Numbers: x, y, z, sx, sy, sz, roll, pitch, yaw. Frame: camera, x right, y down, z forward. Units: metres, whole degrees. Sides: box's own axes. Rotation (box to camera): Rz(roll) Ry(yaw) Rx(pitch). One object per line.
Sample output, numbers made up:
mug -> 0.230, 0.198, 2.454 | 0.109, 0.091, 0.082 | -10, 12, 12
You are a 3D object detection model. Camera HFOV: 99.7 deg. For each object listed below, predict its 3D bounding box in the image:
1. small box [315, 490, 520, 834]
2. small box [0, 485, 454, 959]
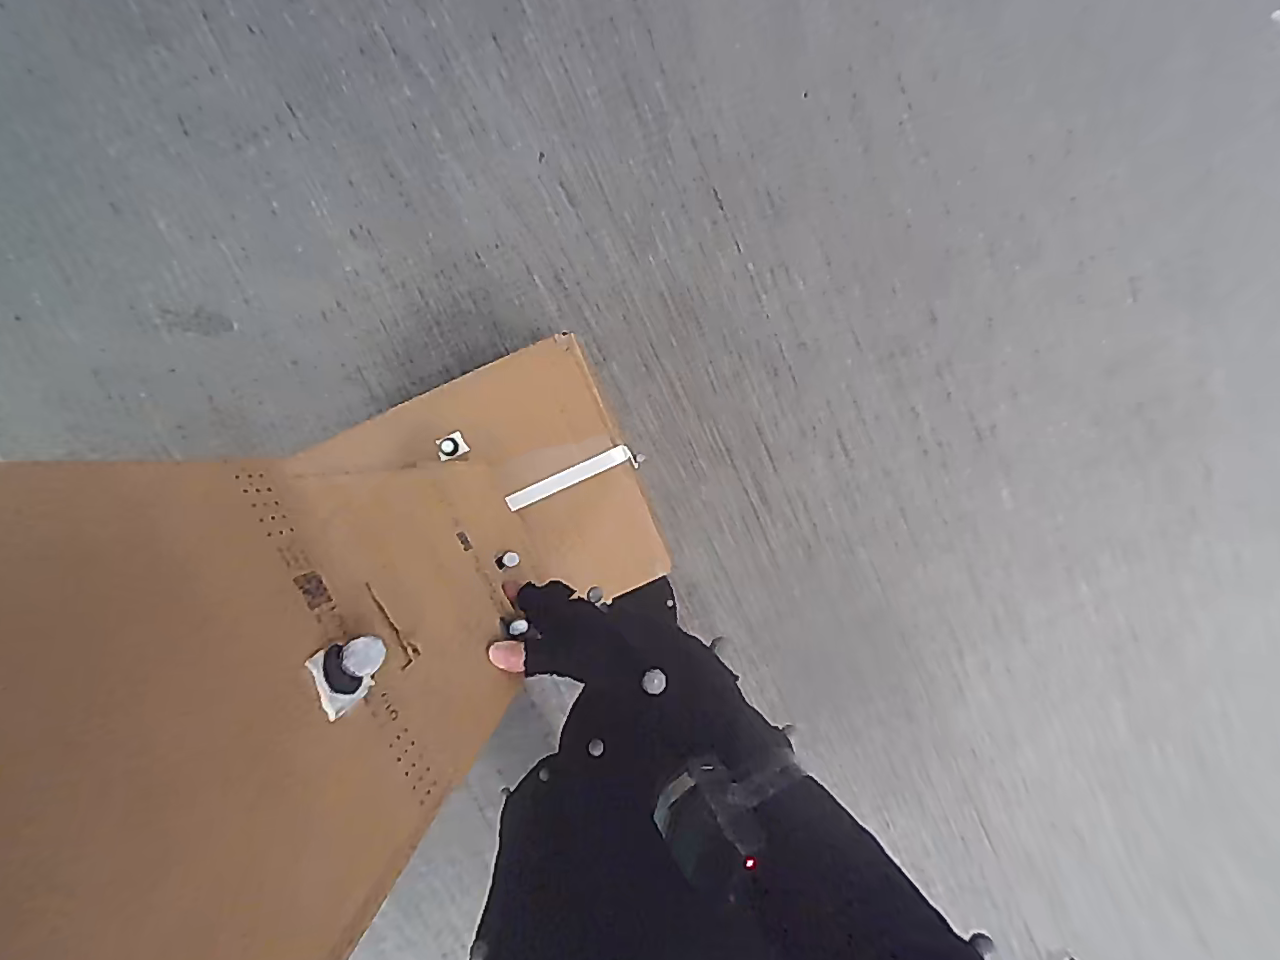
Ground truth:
small box -> -0.191, 0.116, 0.334 | 0.179, 0.176, 0.168 | -28, 91, 4
small box -> -0.195, 0.114, 0.172 | 0.179, 0.176, 0.168 | -30, 92, 2
